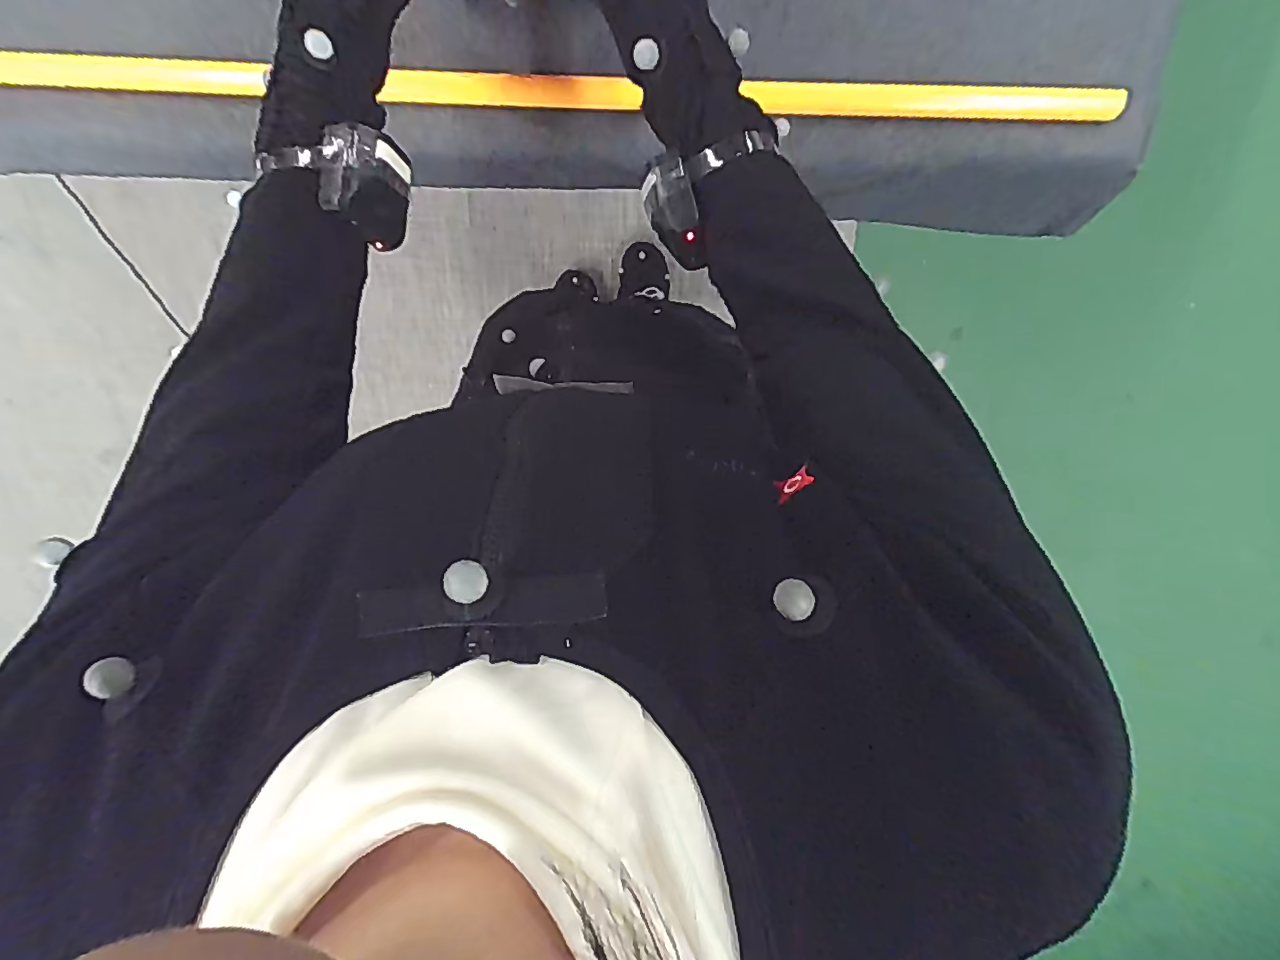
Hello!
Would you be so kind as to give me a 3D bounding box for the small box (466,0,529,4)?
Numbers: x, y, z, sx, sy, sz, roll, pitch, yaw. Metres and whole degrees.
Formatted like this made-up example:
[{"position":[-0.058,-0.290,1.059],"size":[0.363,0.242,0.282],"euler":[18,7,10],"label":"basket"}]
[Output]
[{"position":[-0.099,-0.492,0.394],"size":[0.168,0.176,0.179],"euler":[-1,115,3],"label":"small box"}]
